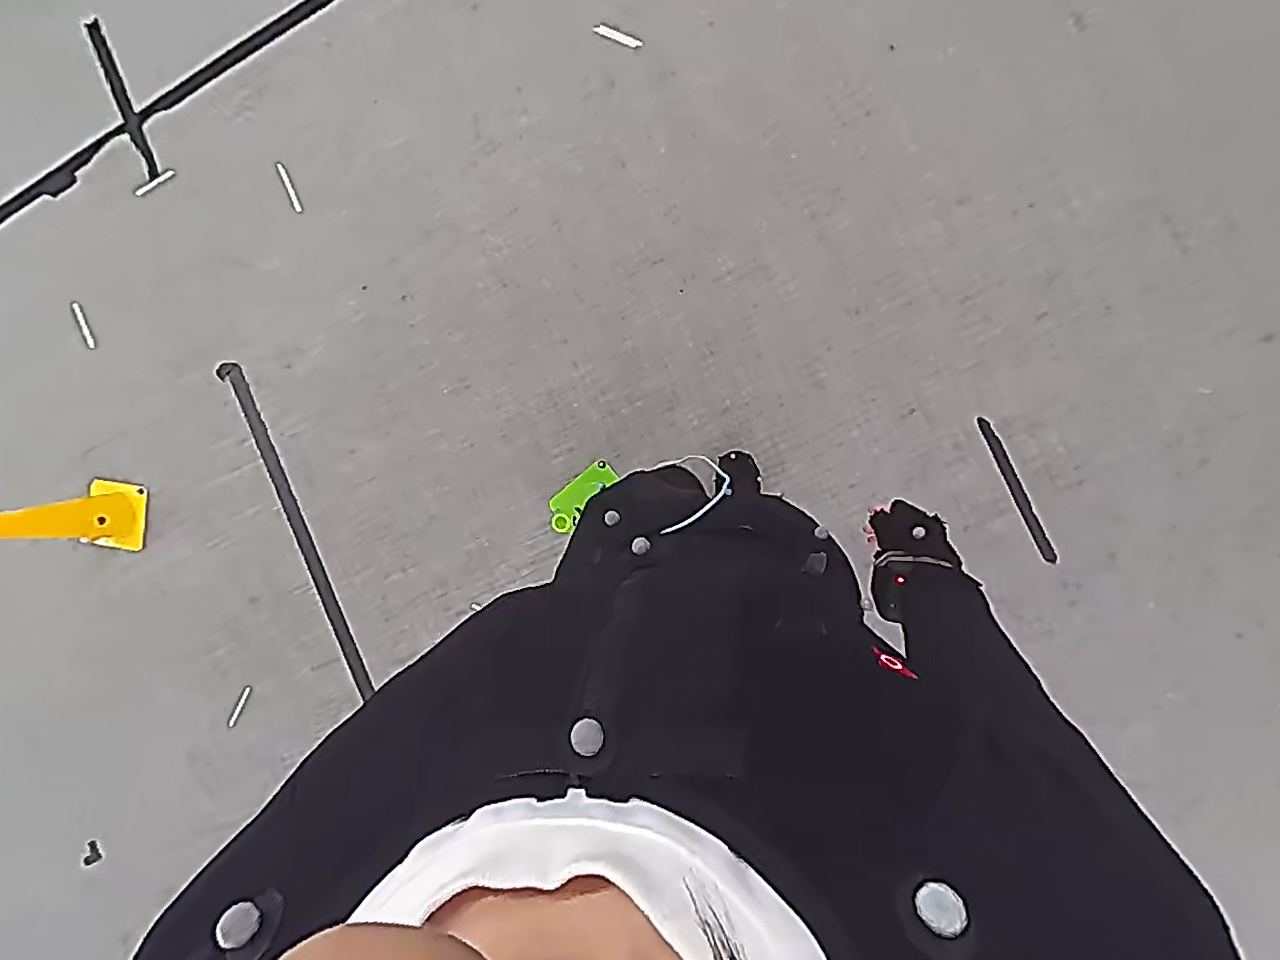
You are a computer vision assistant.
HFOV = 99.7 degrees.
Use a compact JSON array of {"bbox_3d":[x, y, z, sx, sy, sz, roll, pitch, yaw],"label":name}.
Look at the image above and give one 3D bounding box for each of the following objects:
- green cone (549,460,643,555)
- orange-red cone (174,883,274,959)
[{"bbox_3d":[-0.142,0.082,1.284,0.200,0.368,0.202,-40,88,8],"label":"green cone"},{"bbox_3d":[-1.247,1.343,1.485,0.198,0.360,0.199,-16,88,8],"label":"orange-red cone"}]
